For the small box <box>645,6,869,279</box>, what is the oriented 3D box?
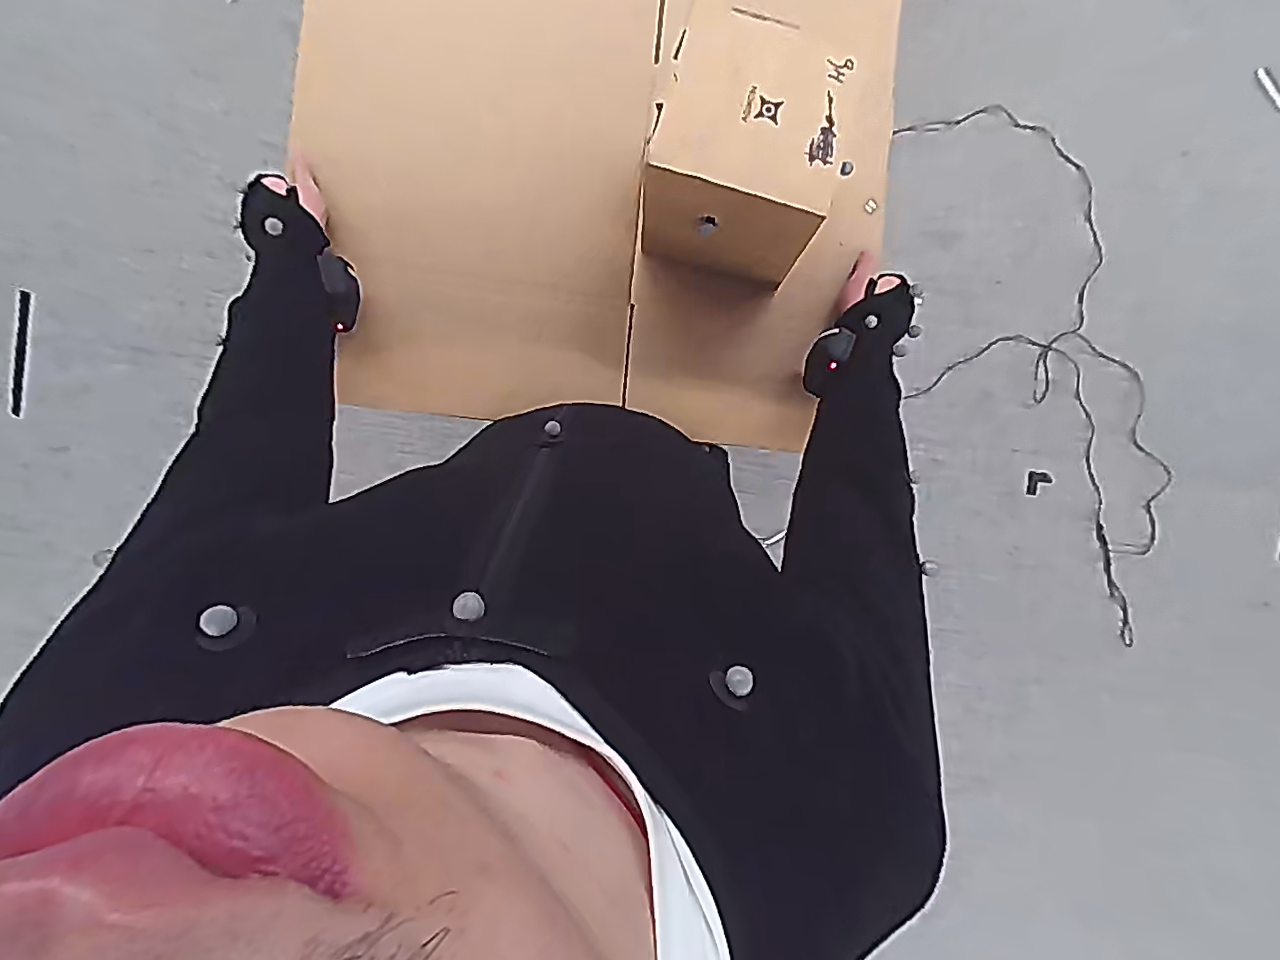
[{"bbox_3d":[0.110,-0.341,0.582,0.179,0.176,0.168,16,88,1],"label":"small box"}]
